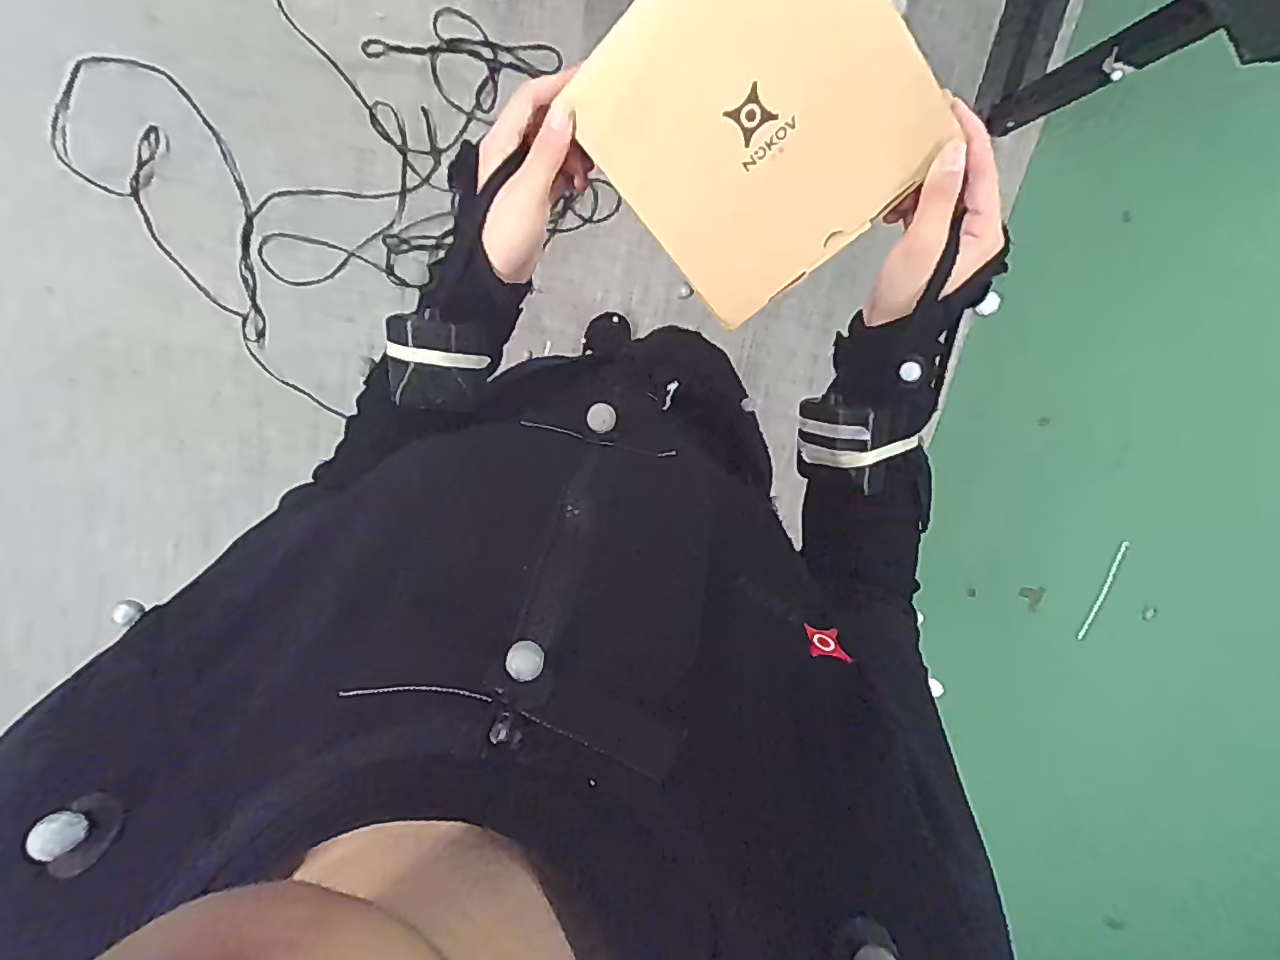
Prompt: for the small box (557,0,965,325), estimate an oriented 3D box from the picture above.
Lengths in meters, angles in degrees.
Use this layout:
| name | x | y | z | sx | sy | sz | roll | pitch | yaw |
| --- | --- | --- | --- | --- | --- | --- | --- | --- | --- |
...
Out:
| name | x | y | z | sx | sy | sz | roll | pitch | yaw |
| --- | --- | --- | --- | --- | --- | --- | --- | --- | --- |
| small box | 0.074 | -0.242 | 0.376 | 0.168 | 0.176 | 0.179 | -37 | 110 | 24 |
